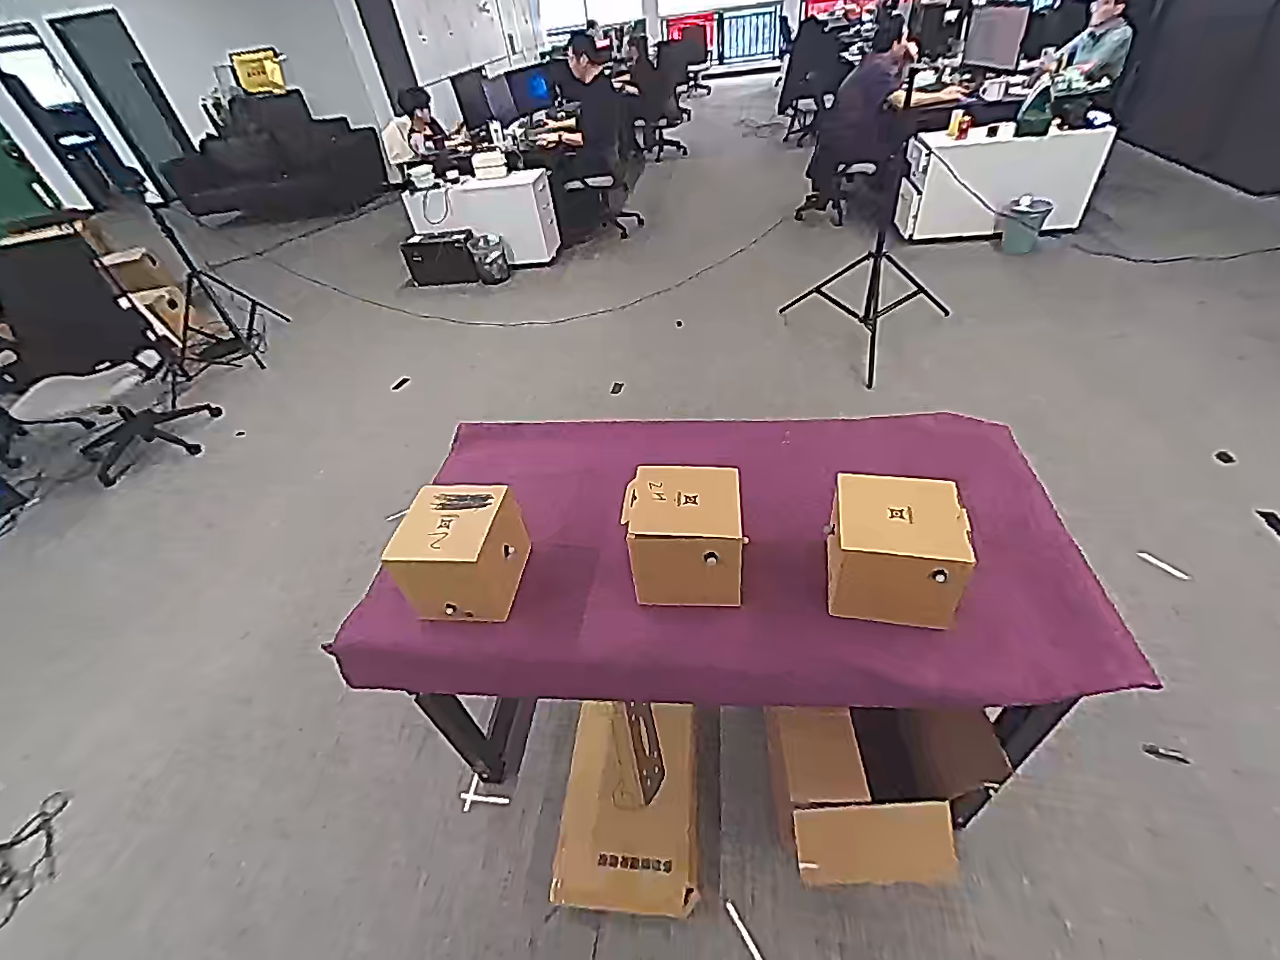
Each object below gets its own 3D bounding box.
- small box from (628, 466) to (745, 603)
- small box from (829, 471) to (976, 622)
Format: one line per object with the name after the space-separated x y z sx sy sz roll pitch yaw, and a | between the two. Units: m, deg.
0.084 0.093 0.917 0.179 0.176 0.168 -1 40 8 | small box
0.396 0.105 0.853 0.179 0.176 0.168 4 43 14 | small box
